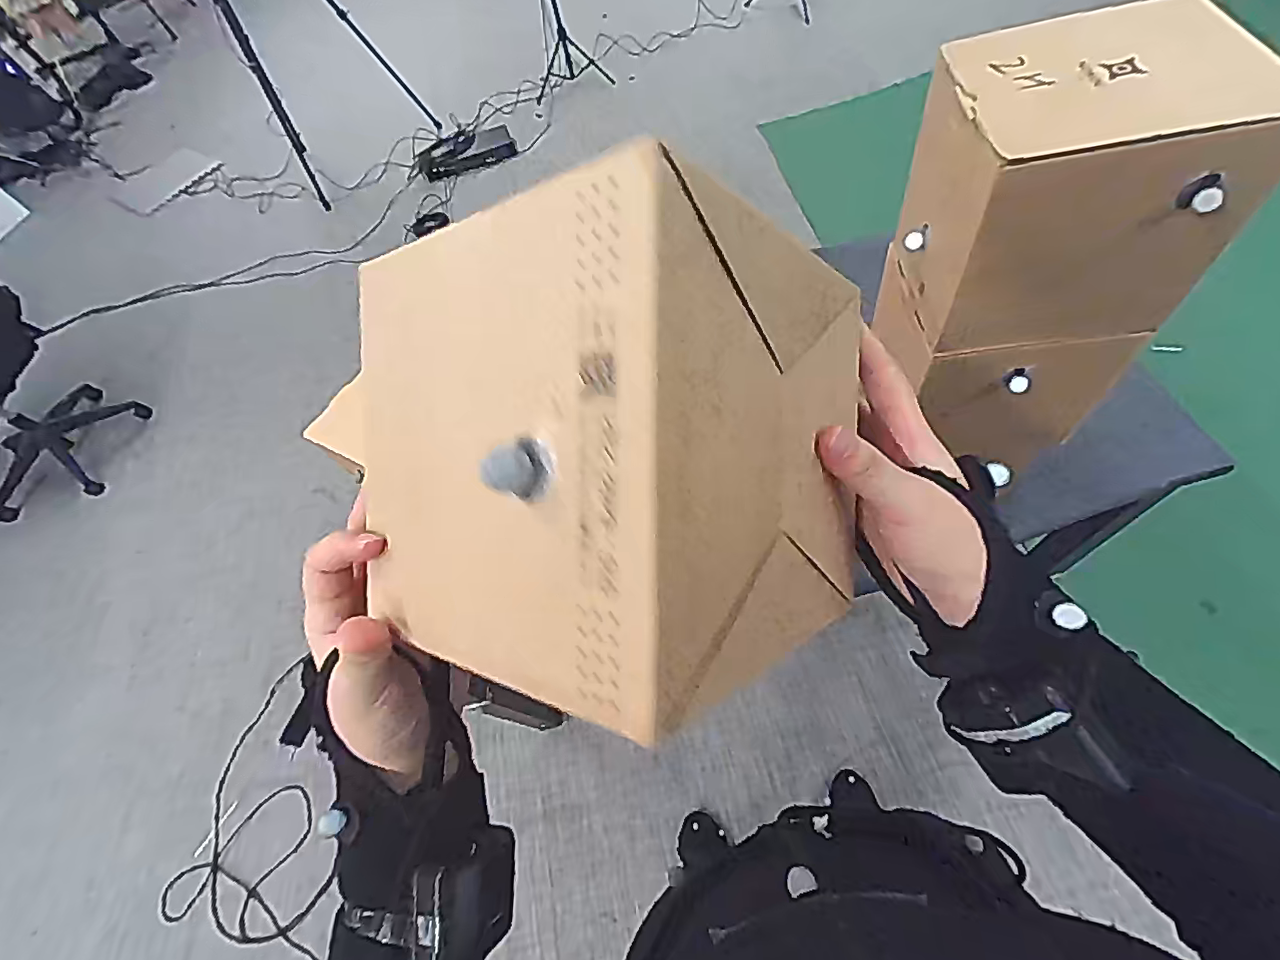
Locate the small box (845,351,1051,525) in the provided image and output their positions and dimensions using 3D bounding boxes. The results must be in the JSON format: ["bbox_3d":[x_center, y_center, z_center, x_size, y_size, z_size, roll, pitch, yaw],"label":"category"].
[{"bbox_3d":[0.383,-0.066,0.708,0.168,0.176,0.179,-14,58,5],"label":"small box"}]

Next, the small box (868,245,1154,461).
[{"bbox_3d":[0.355,-0.135,0.564,0.179,0.176,0.168,-5,58,11],"label":"small box"}]

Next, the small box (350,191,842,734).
[{"bbox_3d":[-0.008,-0.009,0.260,0.176,0.179,0.168,4,97,36],"label":"small box"}]

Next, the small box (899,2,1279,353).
[{"bbox_3d":[0.326,-0.222,0.427,0.179,0.176,0.168,-4,58,12],"label":"small box"}]

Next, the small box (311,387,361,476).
[{"bbox_3d":[-0.365,-0.059,0.867,0.179,0.176,0.168,22,67,22],"label":"small box"}]
